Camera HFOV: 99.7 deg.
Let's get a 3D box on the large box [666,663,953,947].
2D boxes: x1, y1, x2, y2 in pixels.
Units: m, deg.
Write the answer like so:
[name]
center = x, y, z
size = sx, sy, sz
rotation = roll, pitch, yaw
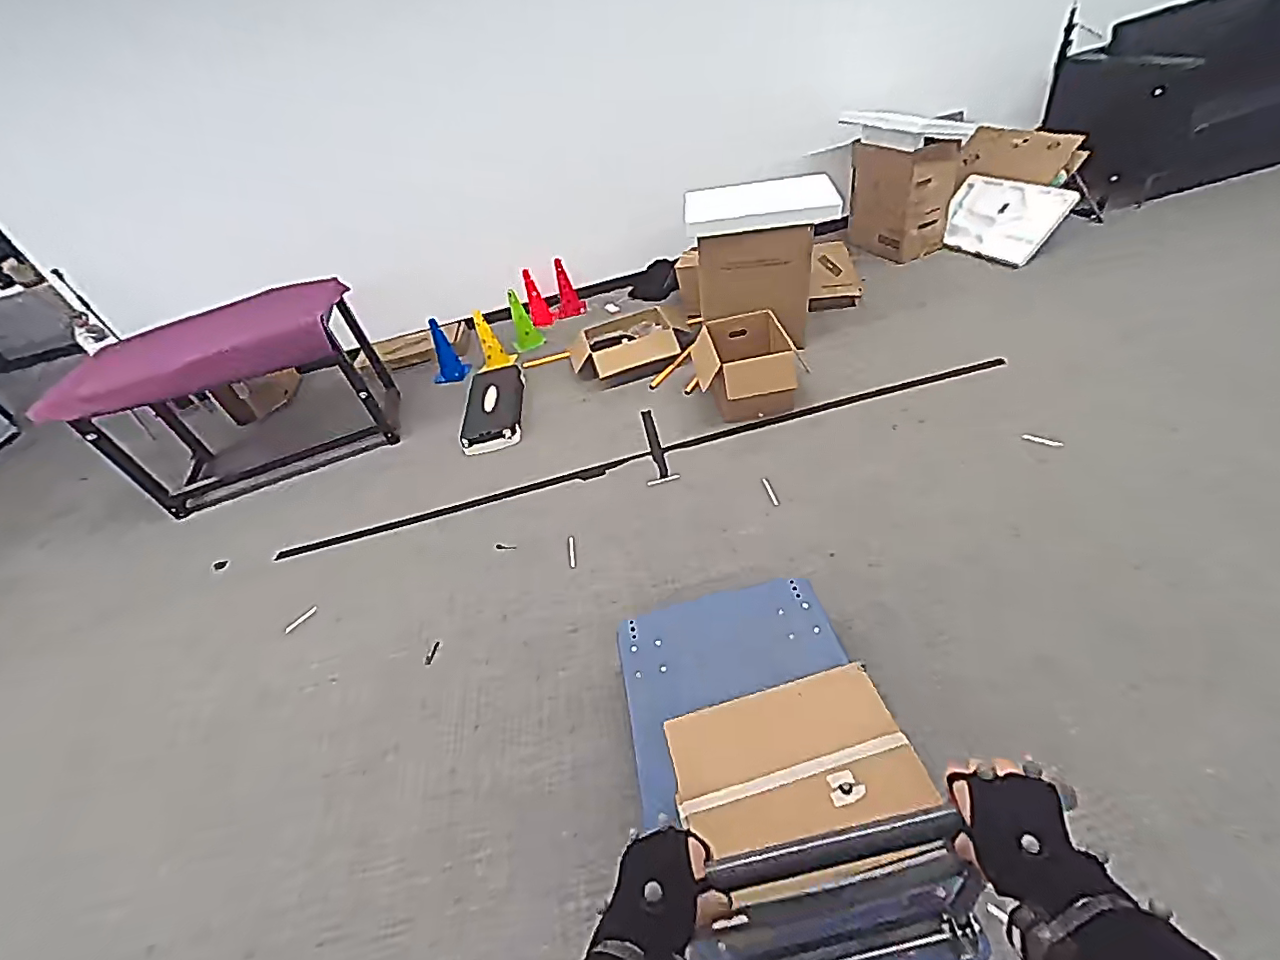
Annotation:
[large box]
center = 0.296, 0.622, 1.043
size = 0.408, 0.320, 0.320
rotation = -16, 41, -3
